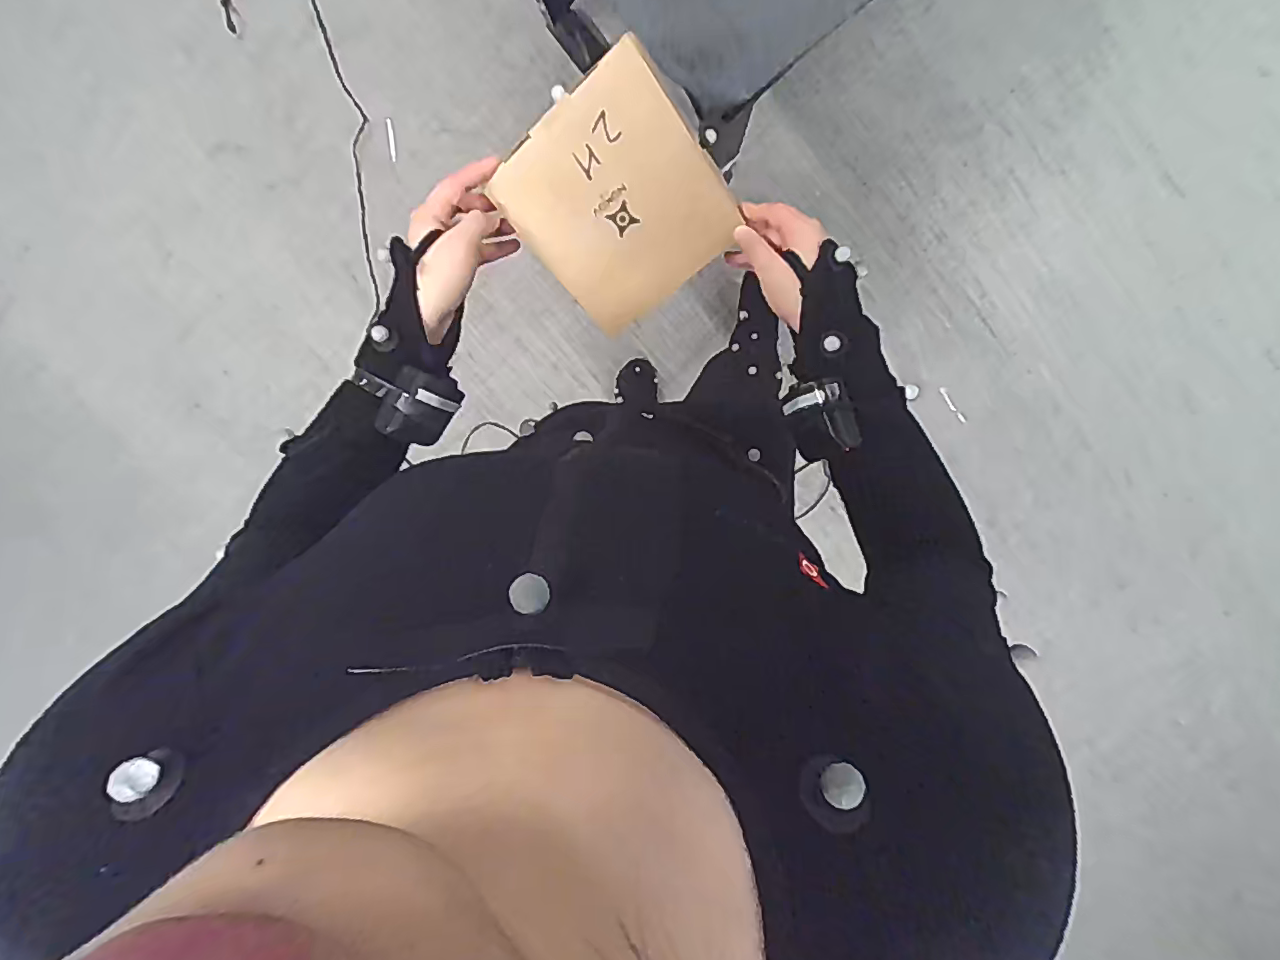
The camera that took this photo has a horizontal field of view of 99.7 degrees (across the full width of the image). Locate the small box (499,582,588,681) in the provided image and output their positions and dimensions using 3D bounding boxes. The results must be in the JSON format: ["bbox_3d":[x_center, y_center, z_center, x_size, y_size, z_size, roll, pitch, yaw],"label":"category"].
[{"bbox_3d":[-0.265,0.424,1.540,0.179,0.176,0.168,-42,99,13],"label":"small box"}]
